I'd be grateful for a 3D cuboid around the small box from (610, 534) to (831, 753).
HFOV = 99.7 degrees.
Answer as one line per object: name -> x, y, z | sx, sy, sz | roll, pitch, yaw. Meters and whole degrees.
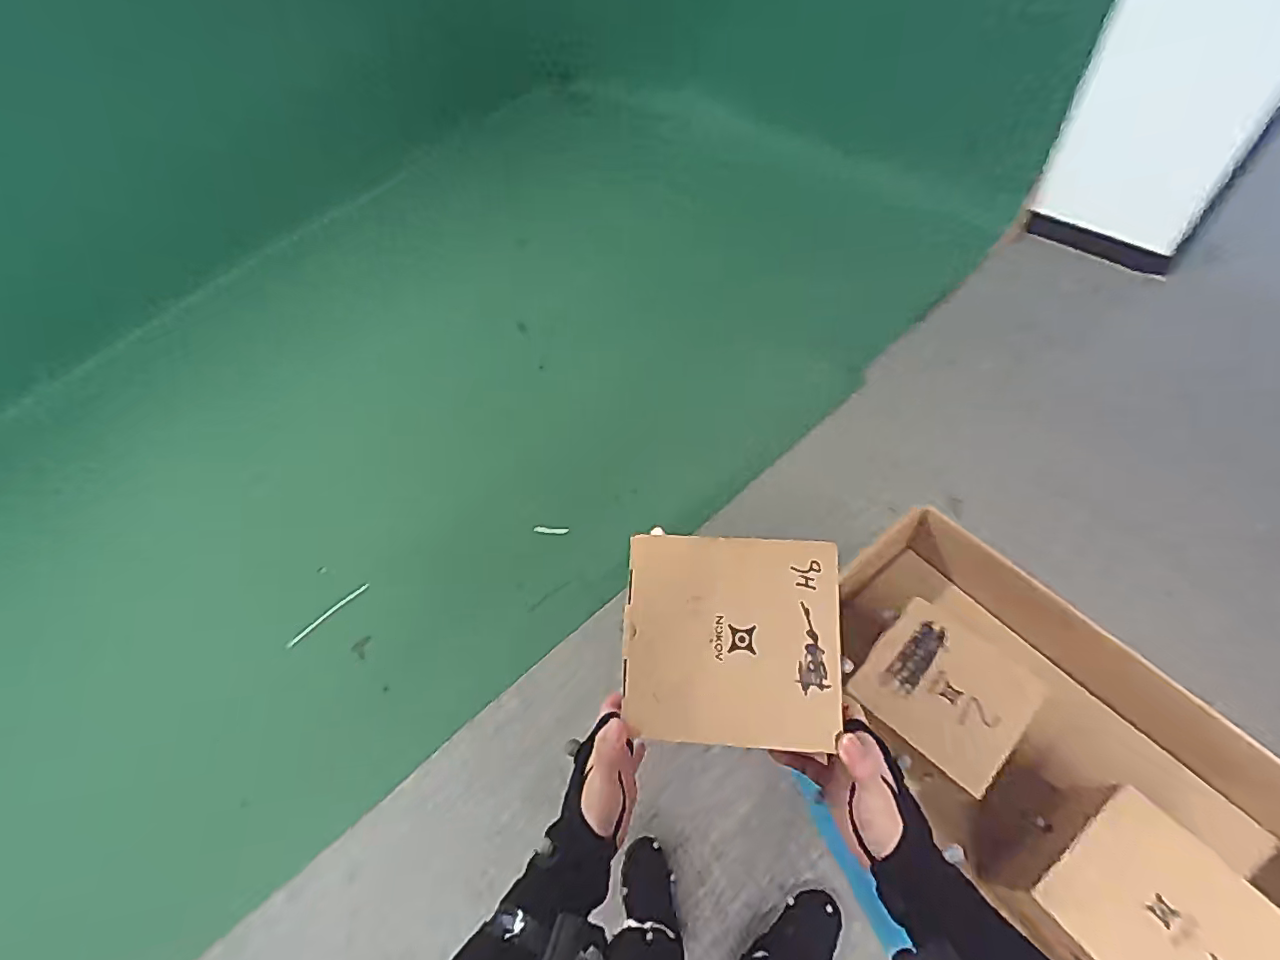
small box -> 0.074, 0.147, 0.520 | 0.179, 0.176, 0.168 | 1, 77, 6
